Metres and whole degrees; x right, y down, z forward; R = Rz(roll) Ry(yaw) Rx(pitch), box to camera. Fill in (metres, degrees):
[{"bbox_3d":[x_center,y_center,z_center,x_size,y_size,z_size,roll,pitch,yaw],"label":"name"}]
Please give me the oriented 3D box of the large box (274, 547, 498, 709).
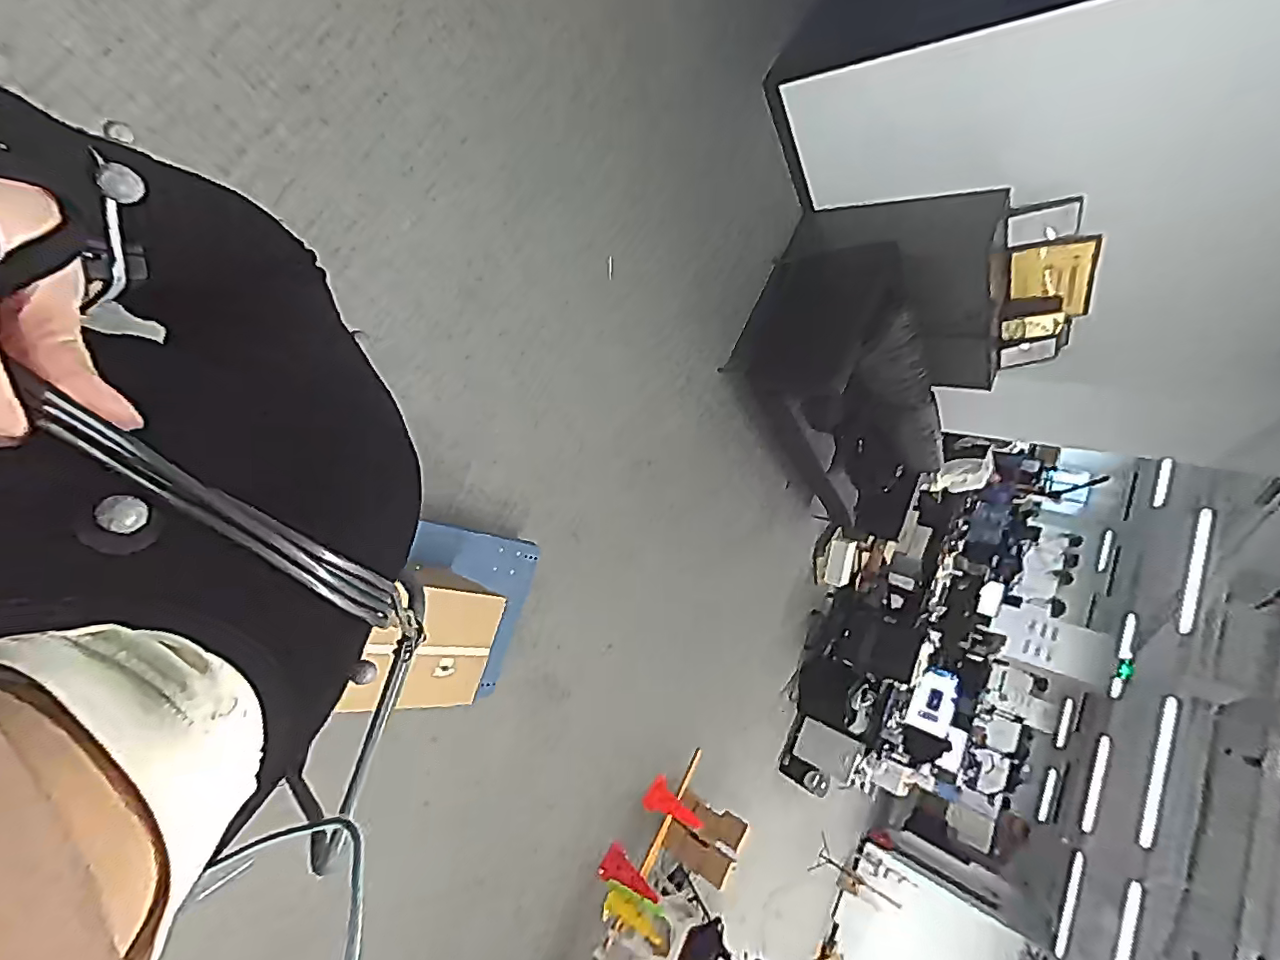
[{"bbox_3d":[-0.673,0.387,1.460,0.408,0.320,0.320,26,81,-52],"label":"large box"}]
